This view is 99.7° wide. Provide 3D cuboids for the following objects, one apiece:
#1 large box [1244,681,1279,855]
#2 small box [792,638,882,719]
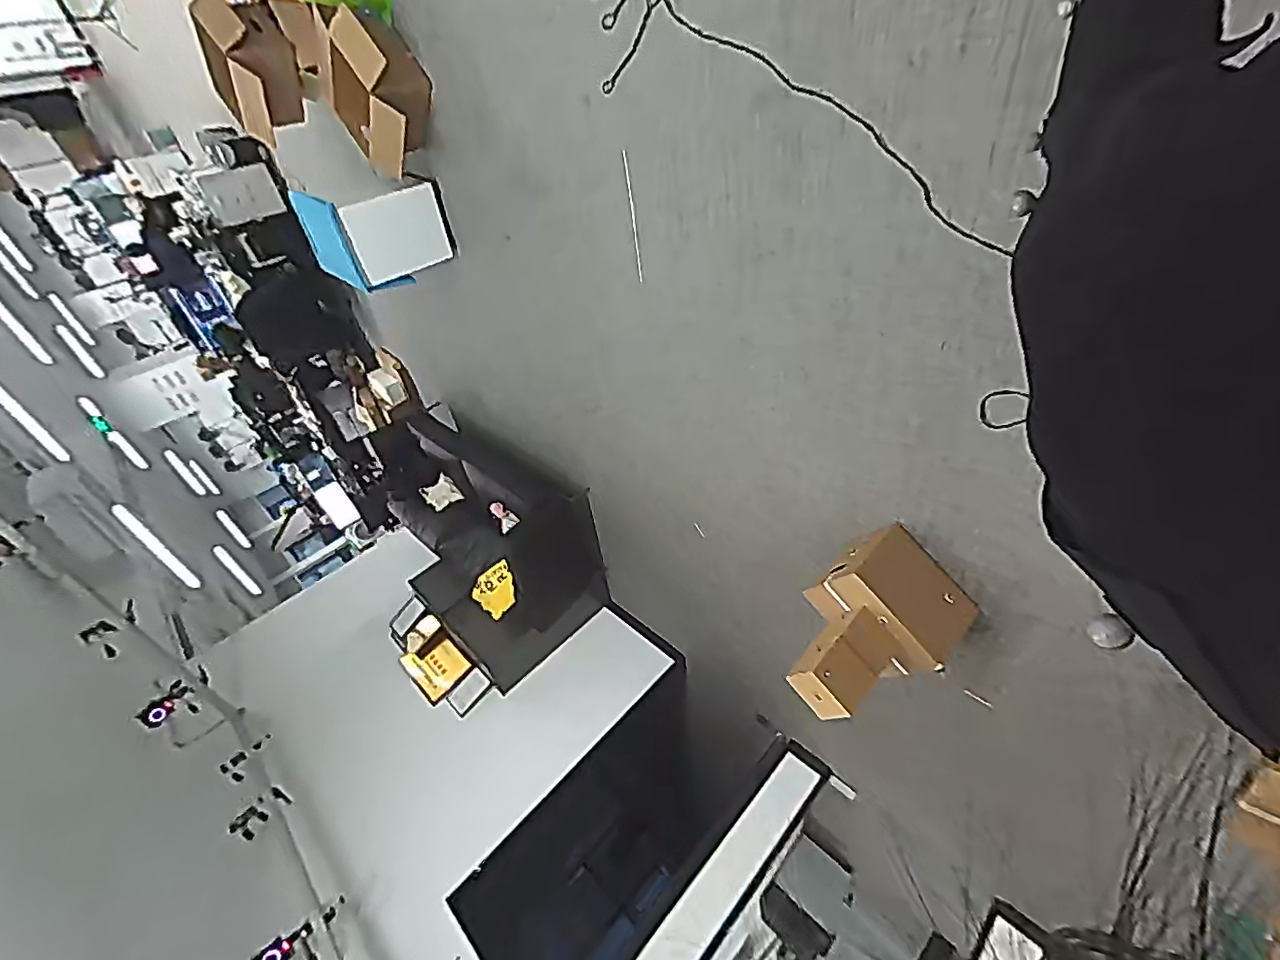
[{"bbox_3d":[1.649,0.699,1.171,0.408,0.320,0.320,15,135,47],"label":"large box"},{"bbox_3d":[0.636,0.639,1.742,0.179,0.176,0.168,49,151,11],"label":"small box"}]
